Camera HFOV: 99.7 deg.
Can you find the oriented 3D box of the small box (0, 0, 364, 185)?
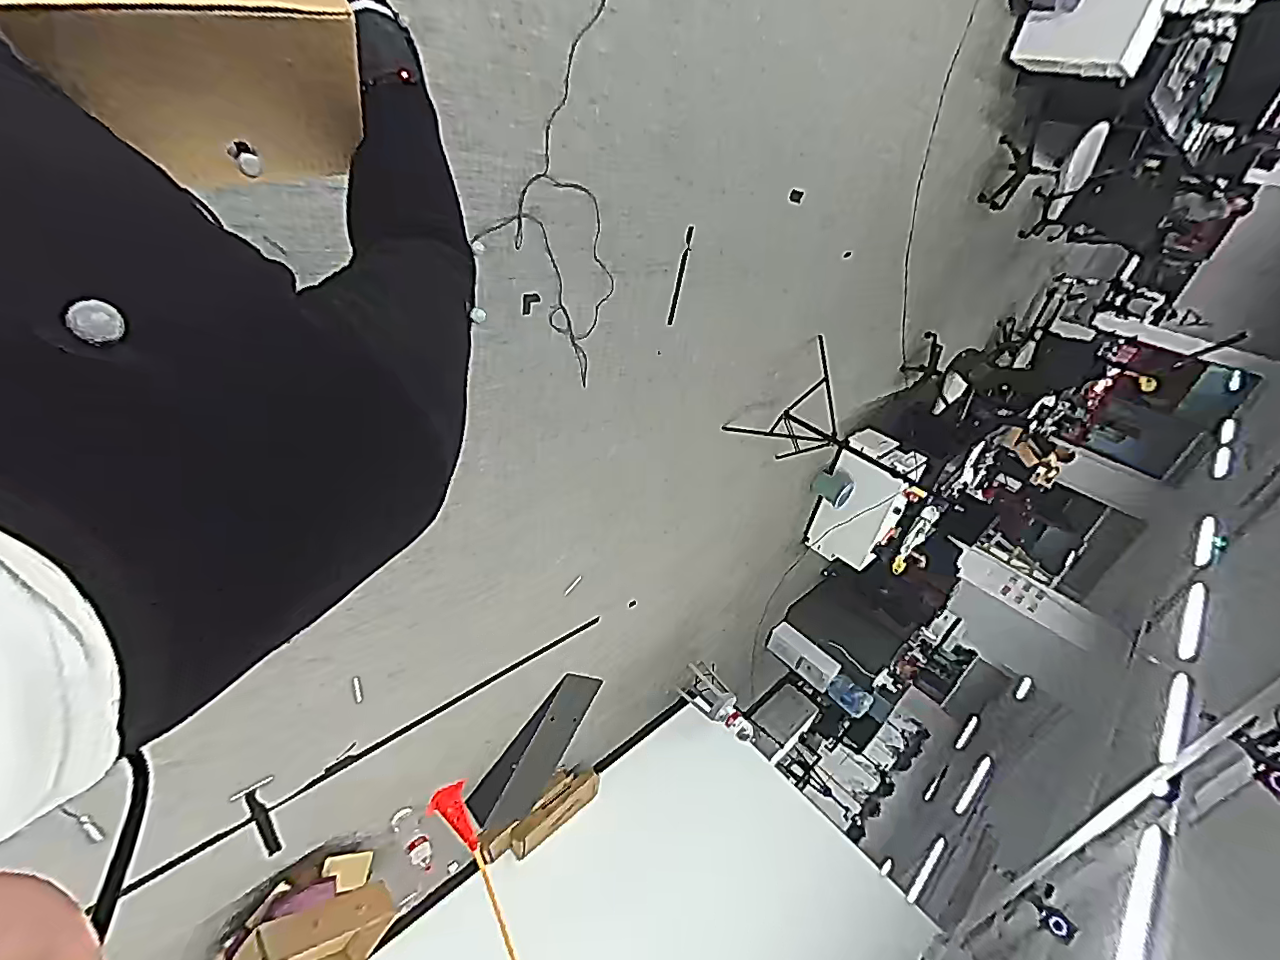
[{"bbox_3d":[-0.312,-0.336,0.379,0.179,0.176,0.168,-21,94,-25],"label":"small box"}]
